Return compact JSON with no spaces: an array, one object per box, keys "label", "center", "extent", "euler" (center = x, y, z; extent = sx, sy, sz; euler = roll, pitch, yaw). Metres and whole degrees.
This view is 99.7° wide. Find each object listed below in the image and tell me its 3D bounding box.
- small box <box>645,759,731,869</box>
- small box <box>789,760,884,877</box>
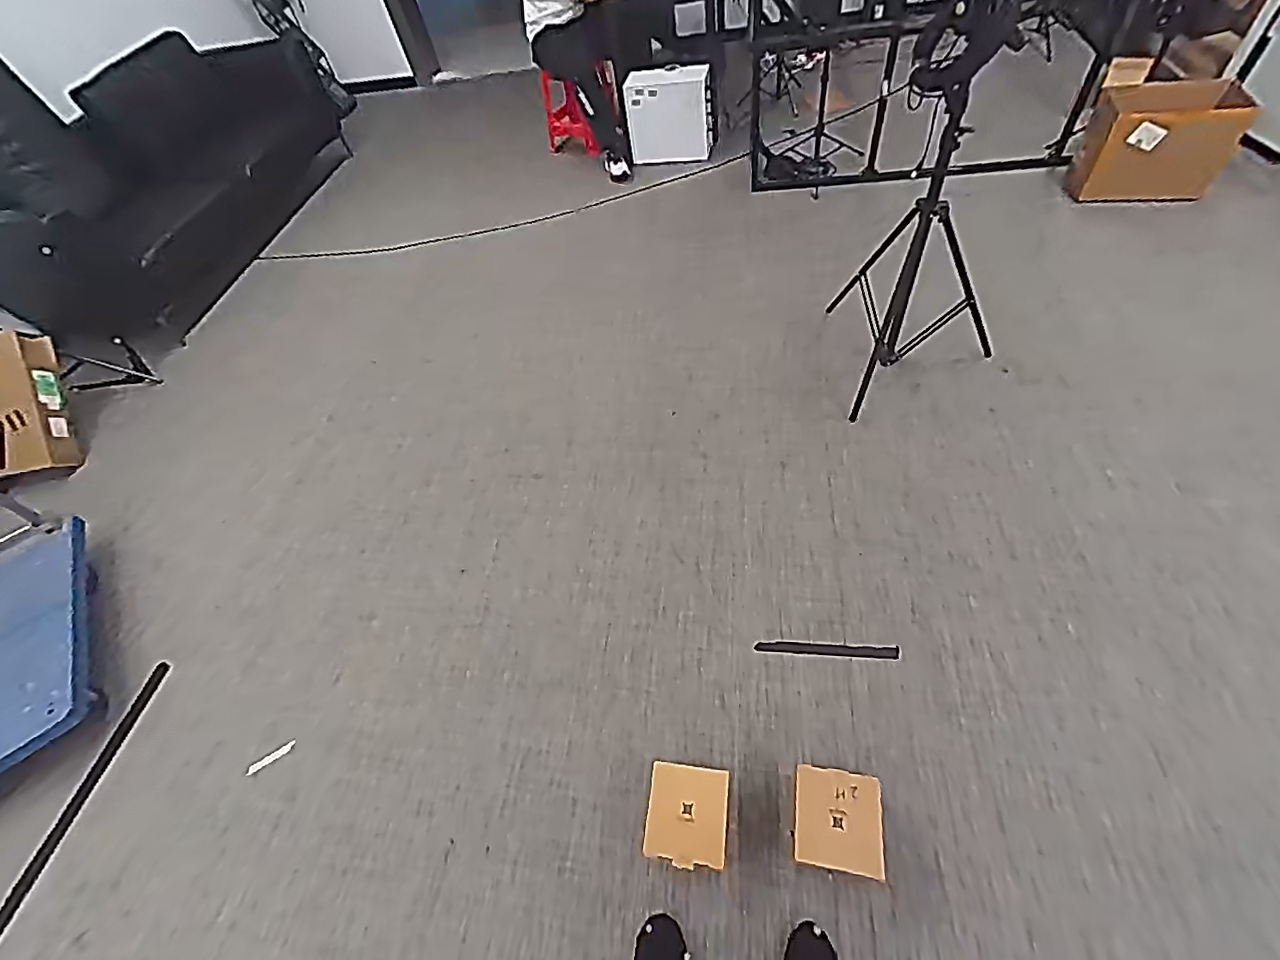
[{"label":"small box","center":[0.112,0.731,1.183],"extent":[0.168,0.176,0.179],"euler":[1,55,12]},{"label":"small box","center":[0.407,0.713,1.137],"extent":[0.168,0.176,0.179],"euler":[4,55,13]}]
